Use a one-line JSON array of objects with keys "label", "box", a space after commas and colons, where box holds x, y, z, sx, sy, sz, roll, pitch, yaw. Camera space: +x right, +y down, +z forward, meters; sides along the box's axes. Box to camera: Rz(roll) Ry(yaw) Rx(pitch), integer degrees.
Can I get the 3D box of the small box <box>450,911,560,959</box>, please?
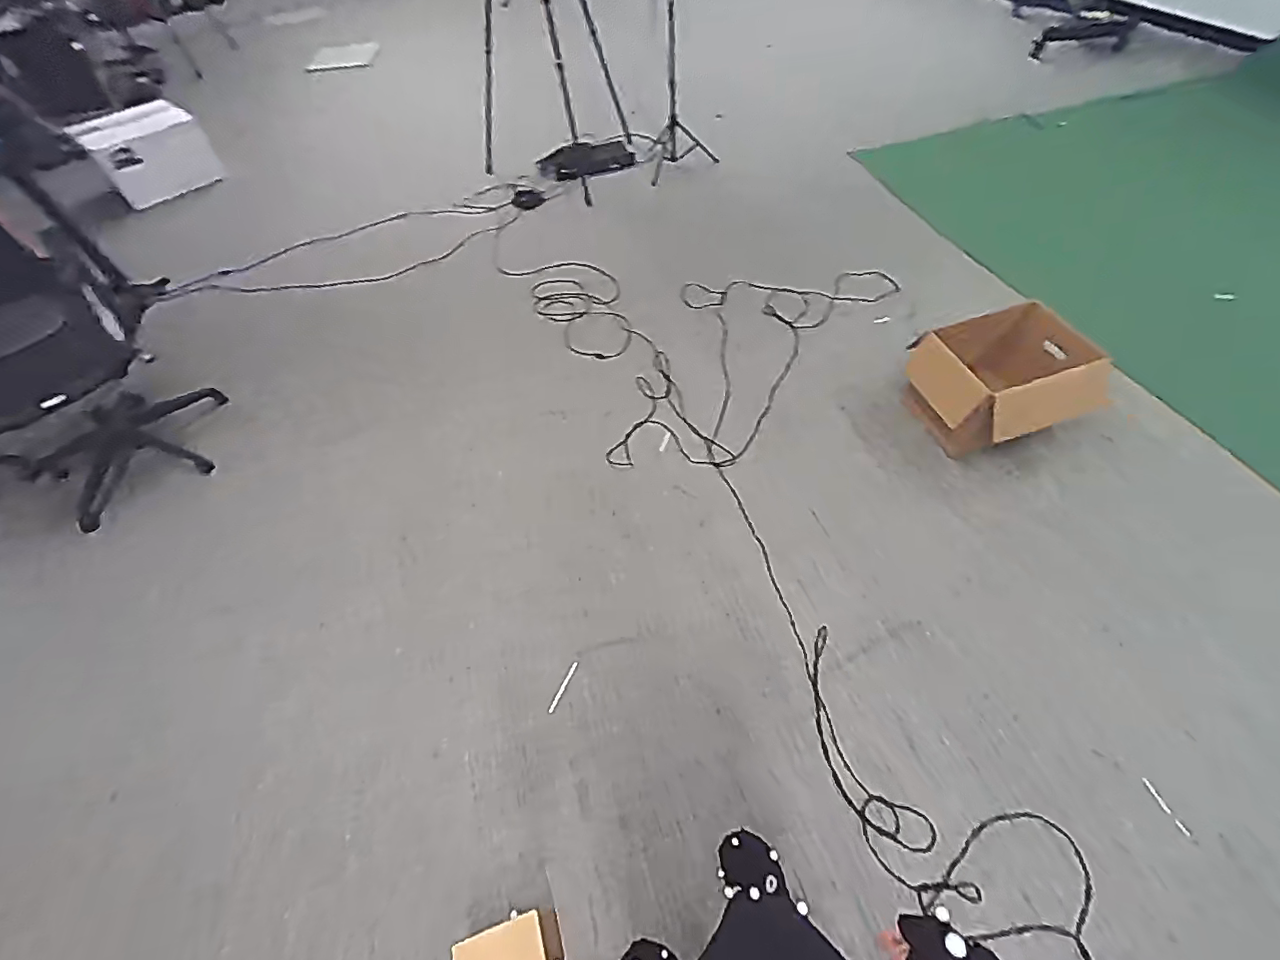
[{"label": "small box", "box": [-0.244, 0.952, 1.025, 0.168, 0.176, 0.179, -18, 55, -9]}]
